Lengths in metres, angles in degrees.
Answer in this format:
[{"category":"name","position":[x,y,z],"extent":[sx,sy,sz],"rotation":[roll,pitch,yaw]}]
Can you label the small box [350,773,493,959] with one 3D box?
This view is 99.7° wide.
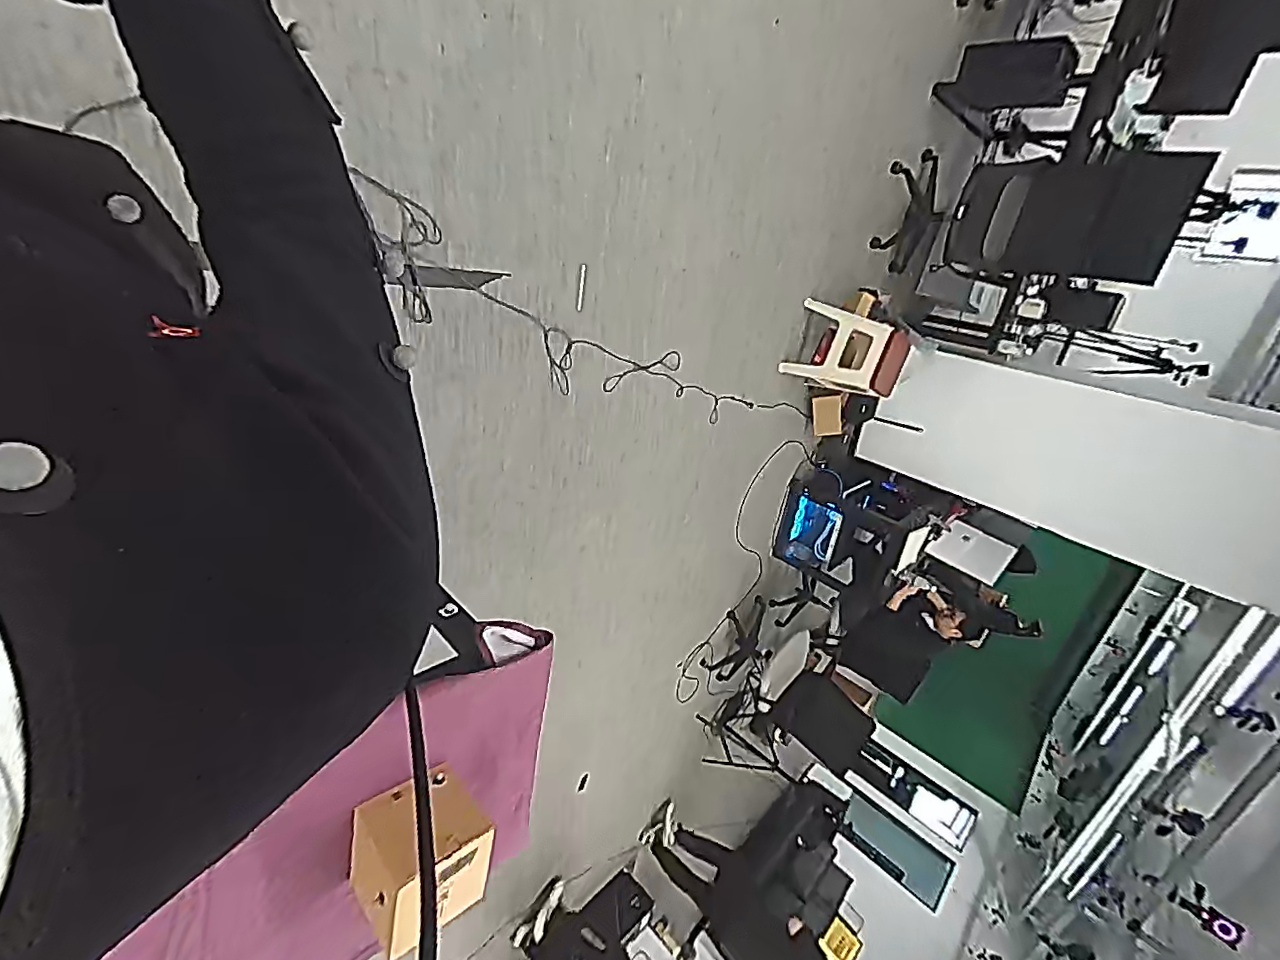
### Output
[{"category":"small box","position":[-0.377,0.639,0.922],"extent":[0.168,0.176,0.179],"rotation":[-7,117,-47]}]
